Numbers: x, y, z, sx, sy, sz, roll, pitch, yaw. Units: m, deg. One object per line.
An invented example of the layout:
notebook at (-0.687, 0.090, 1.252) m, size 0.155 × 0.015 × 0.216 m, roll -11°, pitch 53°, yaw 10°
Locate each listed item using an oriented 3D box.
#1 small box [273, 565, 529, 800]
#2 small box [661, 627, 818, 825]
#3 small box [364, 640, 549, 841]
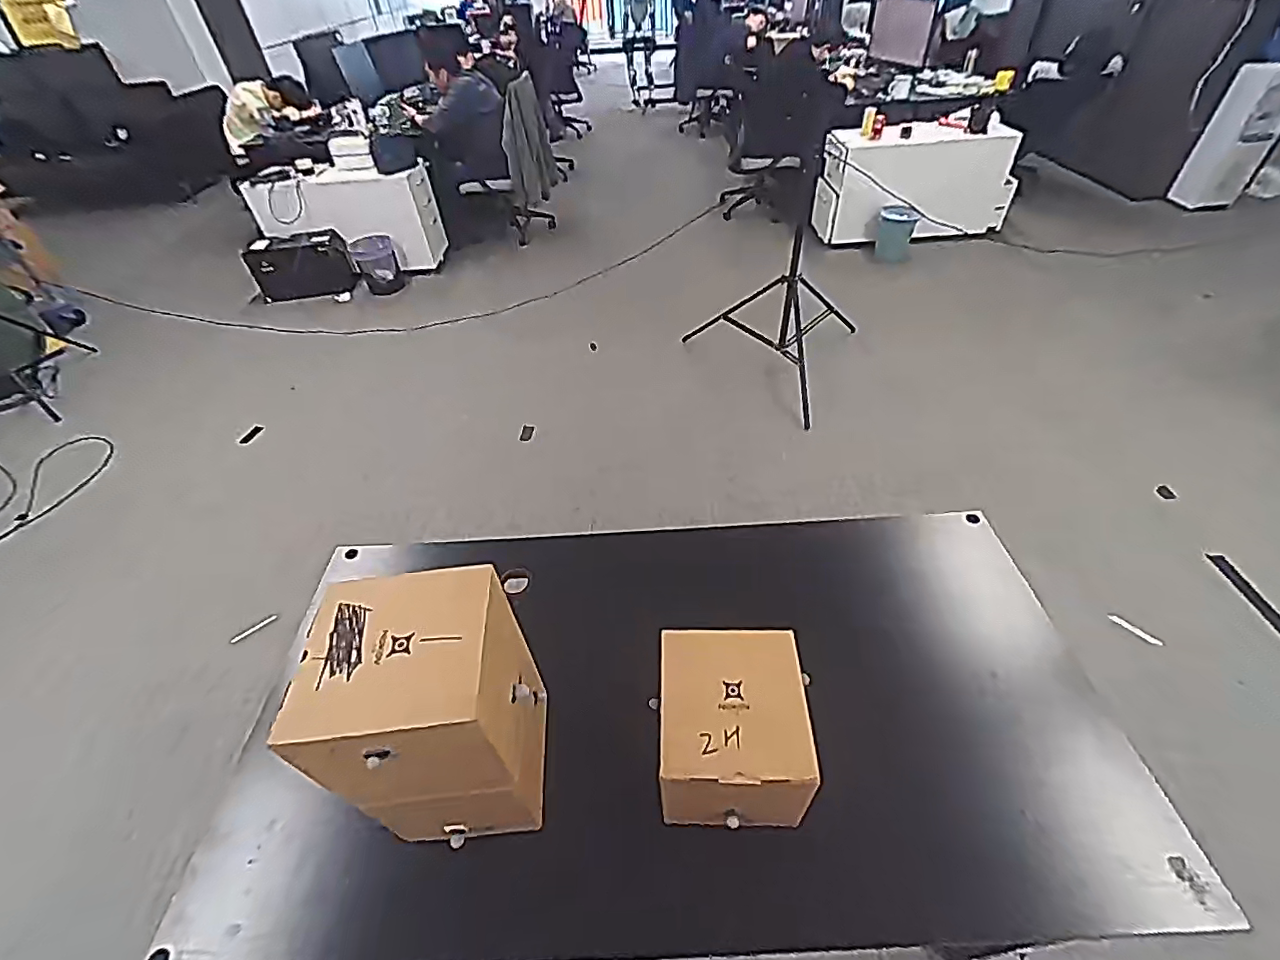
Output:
small box at (-0.224, 0.213, 0.563) m, size 0.179 × 0.176 × 0.168 m, roll -7°, pitch 45°, yaw -2°
small box at (0.111, 0.305, 0.675) m, size 0.168 × 0.176 × 0.179 m, roll -1°, pitch 45°, yaw 4°
small box at (-0.213, 0.327, 0.681) m, size 0.168 × 0.176 × 0.179 m, roll -7°, pitch 46°, yaw -1°
